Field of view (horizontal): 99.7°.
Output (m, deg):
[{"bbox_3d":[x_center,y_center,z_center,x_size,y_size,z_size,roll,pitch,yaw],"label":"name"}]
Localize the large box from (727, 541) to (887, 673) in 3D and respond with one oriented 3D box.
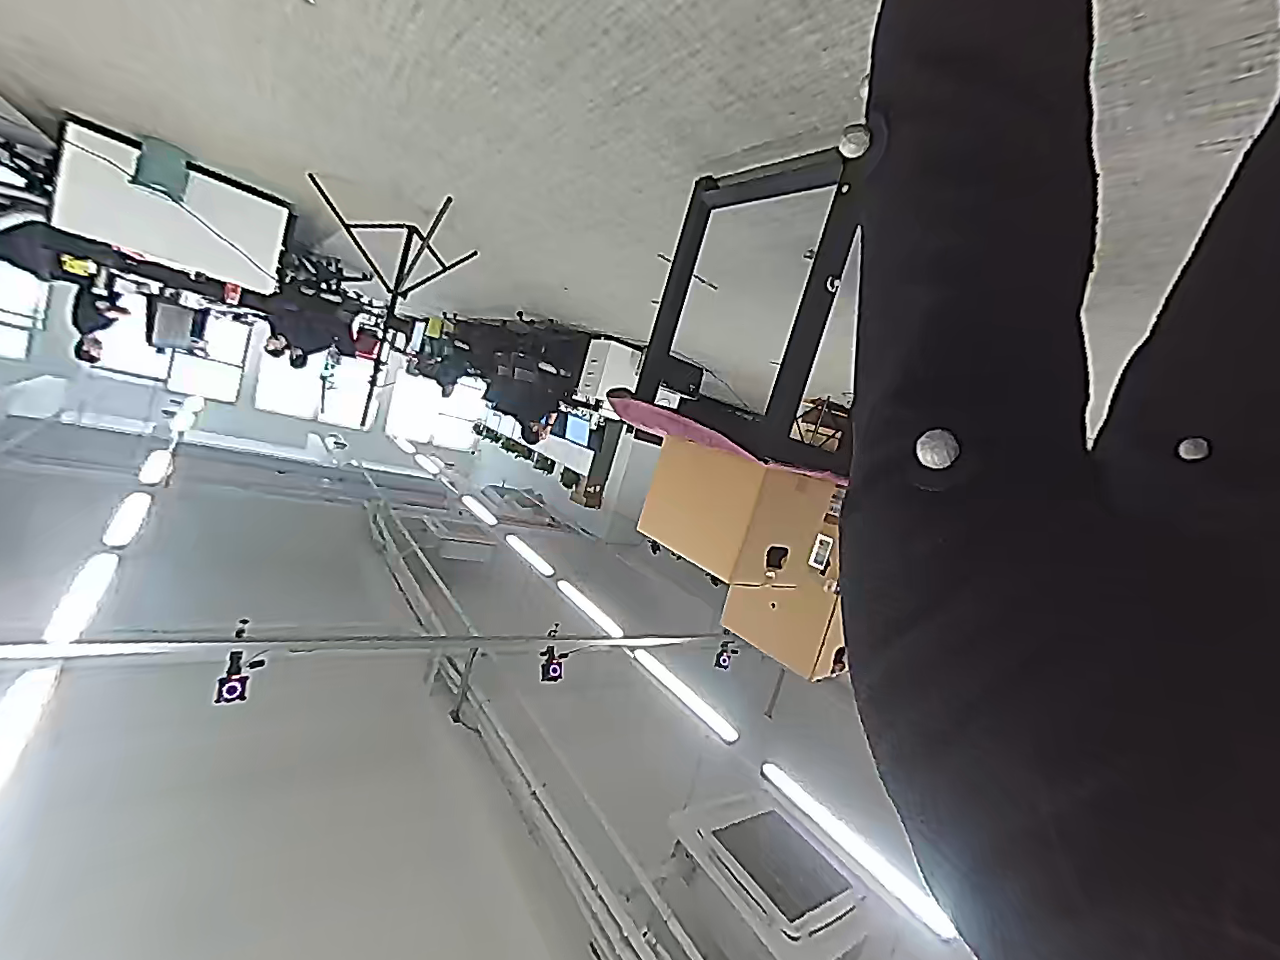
[{"bbox_3d":[0.582,0.429,1.918,0.320,0.320,0.408,6,-169,-39],"label":"large box"}]
